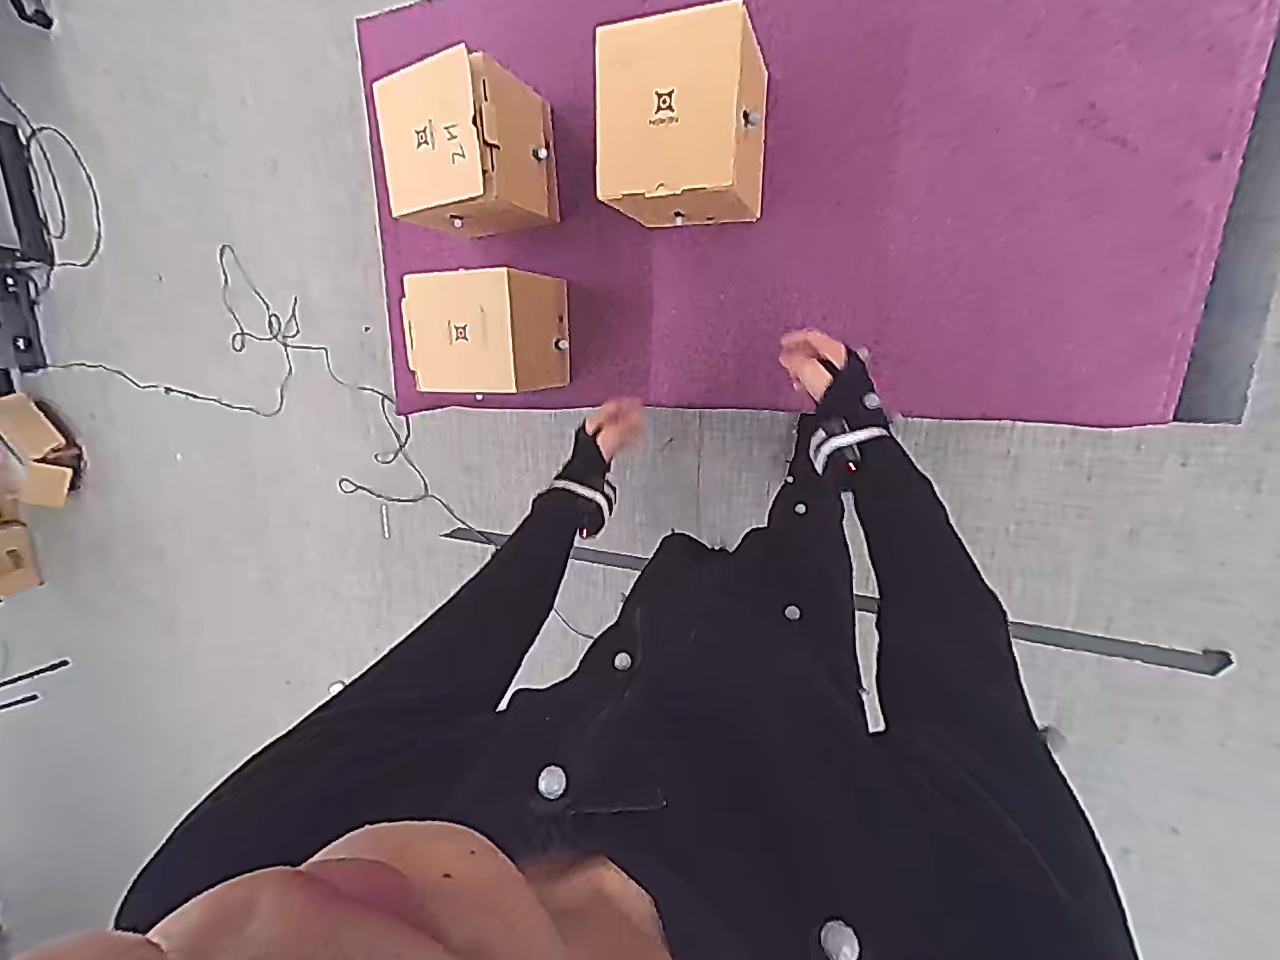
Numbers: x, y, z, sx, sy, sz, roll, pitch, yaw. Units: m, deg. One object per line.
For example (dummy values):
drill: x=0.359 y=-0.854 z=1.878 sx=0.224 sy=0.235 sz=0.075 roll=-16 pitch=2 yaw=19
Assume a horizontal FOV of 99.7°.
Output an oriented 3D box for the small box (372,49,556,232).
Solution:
small box: x=-0.239 y=-0.460 z=0.766 sx=0.179 sy=0.176 sz=0.168 roll=2 pitch=105 yaw=20

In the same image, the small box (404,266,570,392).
small box: x=-0.224 y=-0.225 z=0.822 sx=0.179 sy=0.176 sz=0.168 roll=5 pitch=105 yaw=20
